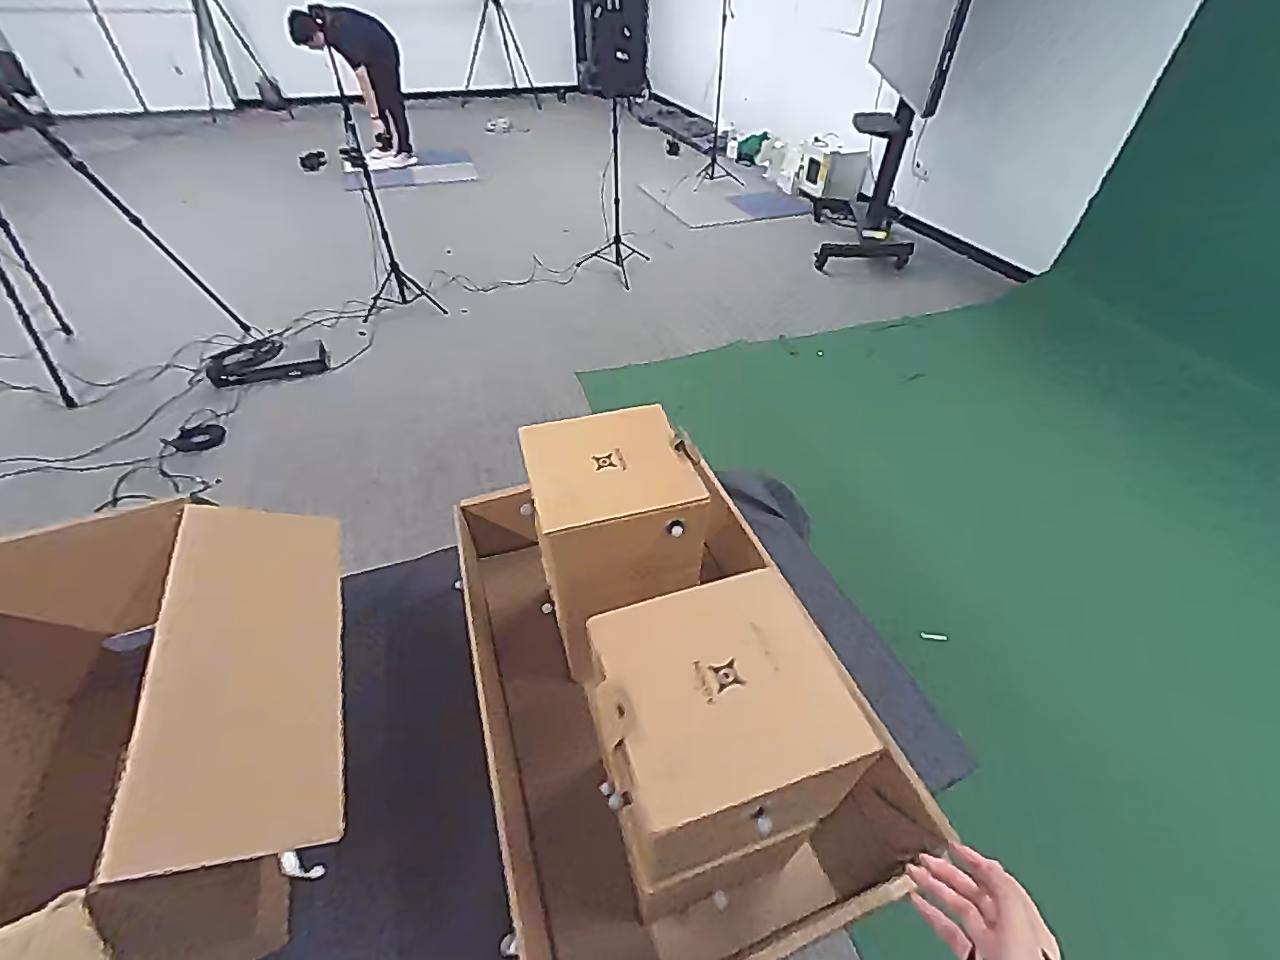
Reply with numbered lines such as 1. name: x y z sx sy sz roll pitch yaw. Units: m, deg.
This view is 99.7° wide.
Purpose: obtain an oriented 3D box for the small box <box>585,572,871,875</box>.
1. small box: 0.060 0.212 0.473 0.179 0.176 0.168 -13 47 -13

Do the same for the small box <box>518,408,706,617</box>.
1. small box: -0.037 0.040 0.644 0.179 0.176 0.168 -11 47 -13
